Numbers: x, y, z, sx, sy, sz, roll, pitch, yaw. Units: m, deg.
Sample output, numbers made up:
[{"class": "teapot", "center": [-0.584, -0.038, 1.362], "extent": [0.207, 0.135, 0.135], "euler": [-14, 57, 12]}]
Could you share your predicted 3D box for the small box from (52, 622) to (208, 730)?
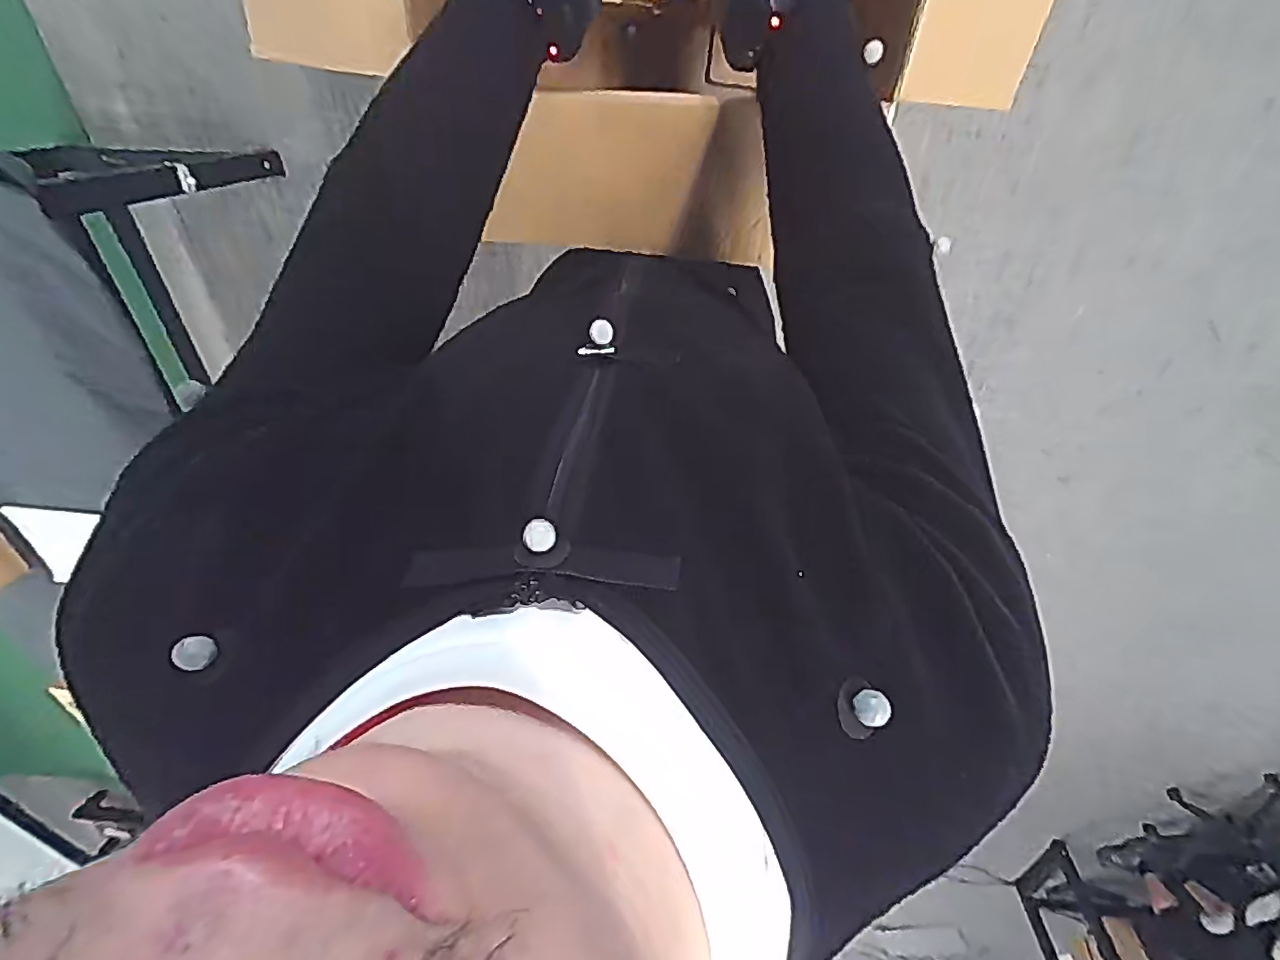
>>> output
[{"class": "small box", "center": [-1.147, 0.446, 1.241], "extent": [0.179, 0.176, 0.168], "euler": [4, 125, 3]}]
